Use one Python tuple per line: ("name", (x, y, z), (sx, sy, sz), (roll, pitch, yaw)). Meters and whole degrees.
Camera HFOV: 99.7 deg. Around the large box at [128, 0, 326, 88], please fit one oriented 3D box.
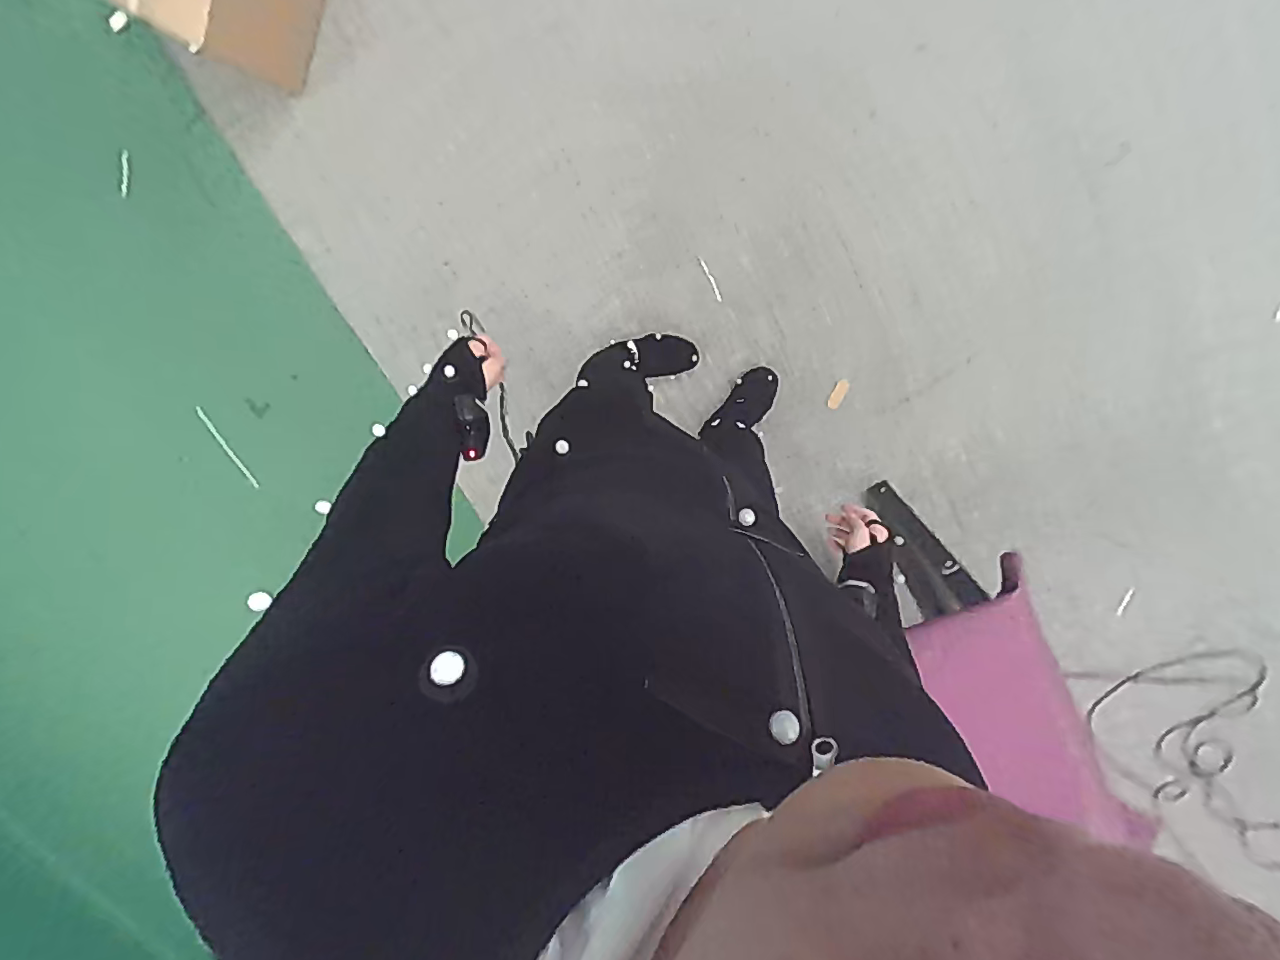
("large box", (-0.940, -1.209, 1.209), (0.320, 0.320, 0.408), (29, 111, -2))
